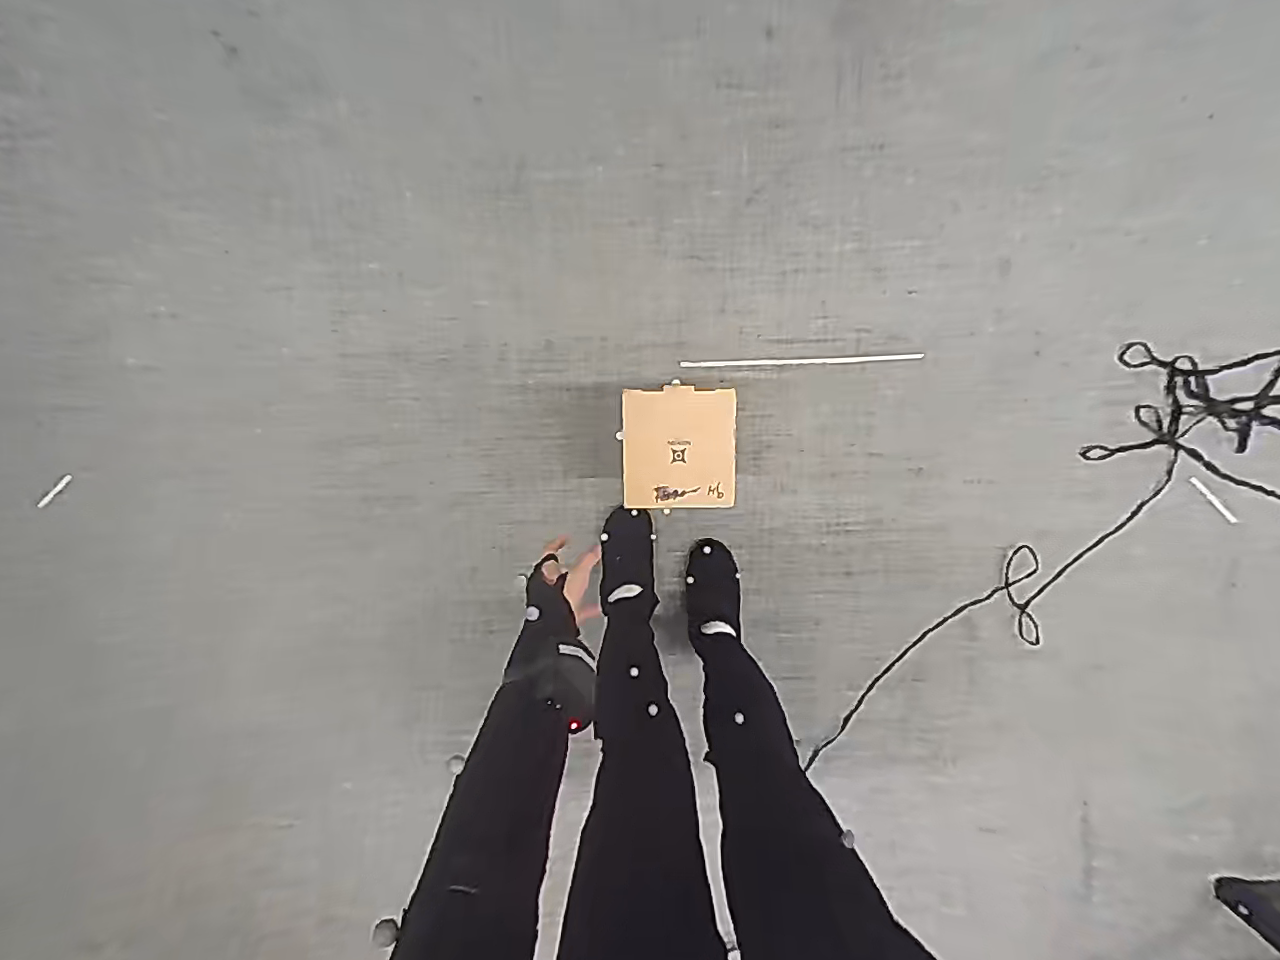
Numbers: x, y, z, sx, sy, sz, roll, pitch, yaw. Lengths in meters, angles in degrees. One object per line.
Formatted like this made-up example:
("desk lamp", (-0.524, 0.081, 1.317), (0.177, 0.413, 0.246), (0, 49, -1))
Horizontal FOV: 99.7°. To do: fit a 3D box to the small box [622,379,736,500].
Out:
("small box", (0.054, -0.068, 0.857), (0.168, 0.176, 0.179), (0, 99, 1))
